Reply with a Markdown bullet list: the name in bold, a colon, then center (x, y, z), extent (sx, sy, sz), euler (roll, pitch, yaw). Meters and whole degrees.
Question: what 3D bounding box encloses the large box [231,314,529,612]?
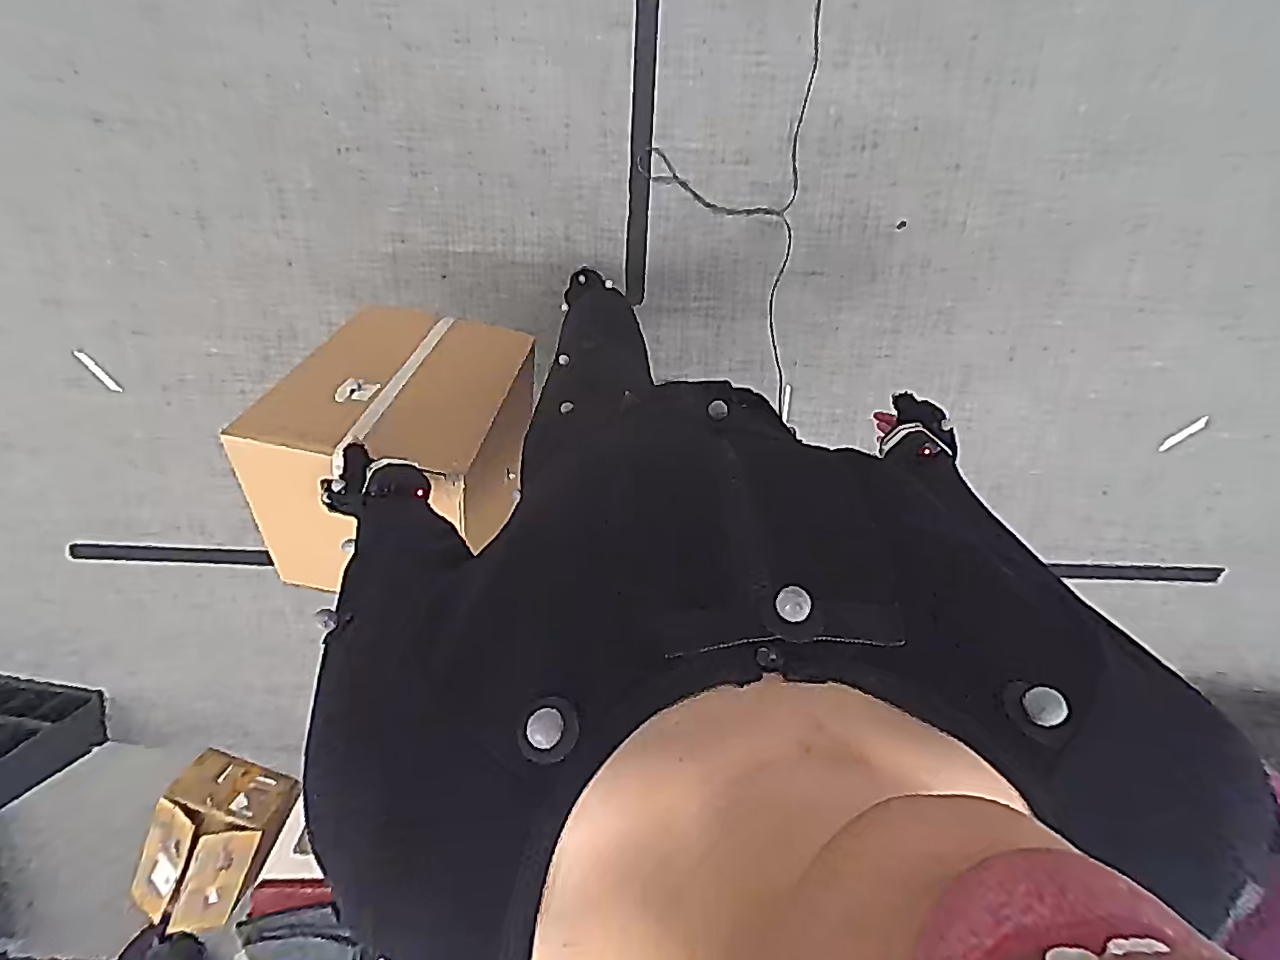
- **large box**: center (-0.396, -0.040, 0.956), extent (0.320, 0.408, 0.320), euler (10, 132, -1)
